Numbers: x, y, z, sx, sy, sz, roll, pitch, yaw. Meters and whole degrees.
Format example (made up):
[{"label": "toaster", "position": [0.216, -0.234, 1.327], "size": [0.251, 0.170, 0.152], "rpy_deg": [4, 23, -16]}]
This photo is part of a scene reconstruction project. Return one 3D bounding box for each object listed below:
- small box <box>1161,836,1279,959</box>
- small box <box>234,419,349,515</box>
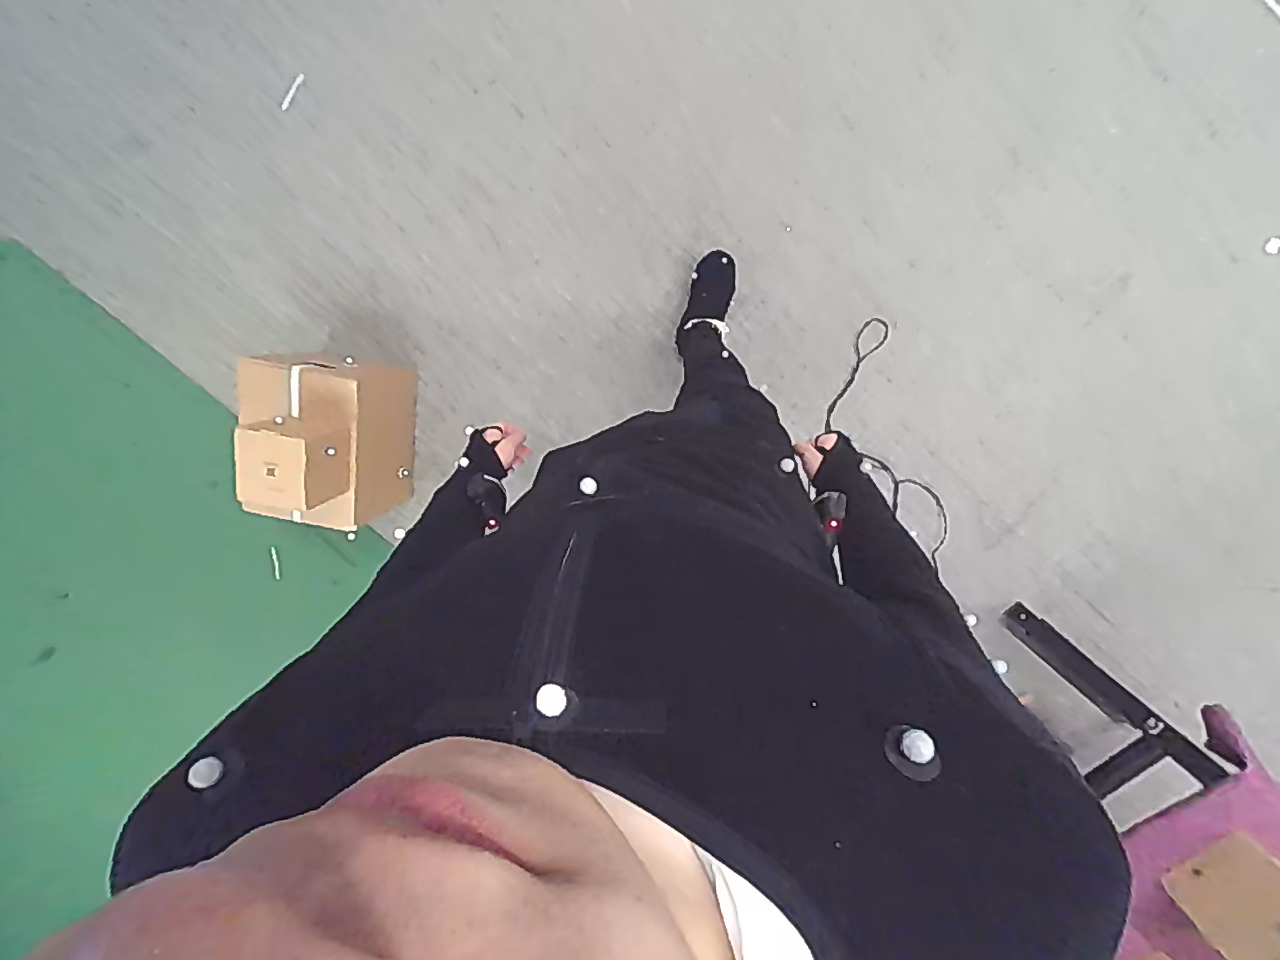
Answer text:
[{"label": "small box", "position": [1.051, 0.744, 0.896], "size": [0.179, 0.176, 0.168], "rpy_deg": [38, 104, -7]}, {"label": "small box", "position": [-0.815, -0.038, 1.279], "size": [0.168, 0.176, 0.179], "rpy_deg": [11, 106, 2]}]
